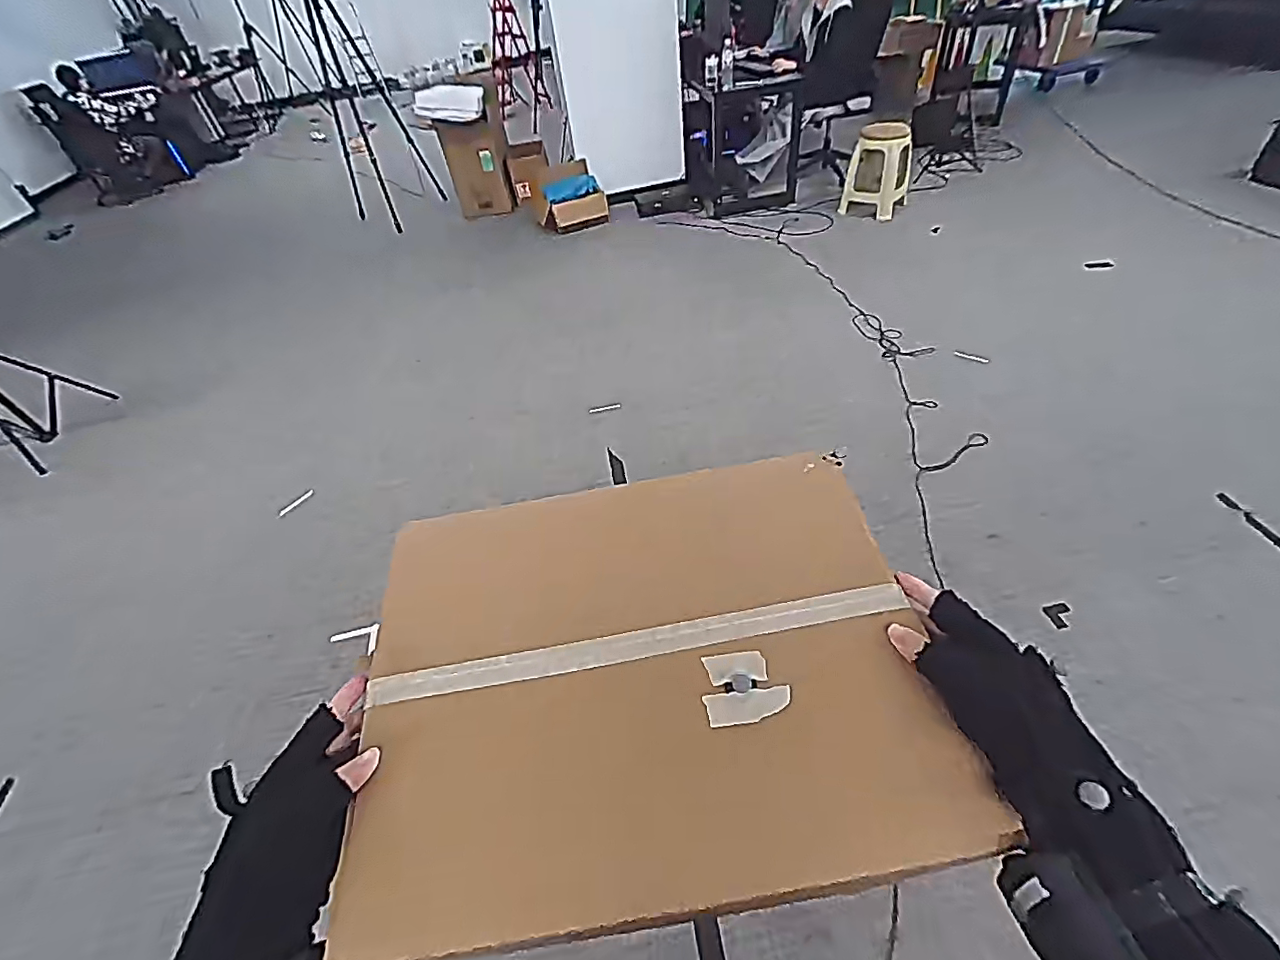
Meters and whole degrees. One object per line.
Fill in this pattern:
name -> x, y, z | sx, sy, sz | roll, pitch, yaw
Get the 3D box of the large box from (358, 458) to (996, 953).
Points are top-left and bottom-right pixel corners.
large box -> 0.016, 0.222, 0.532 | 0.408, 0.320, 0.320 | -10, 51, -1
